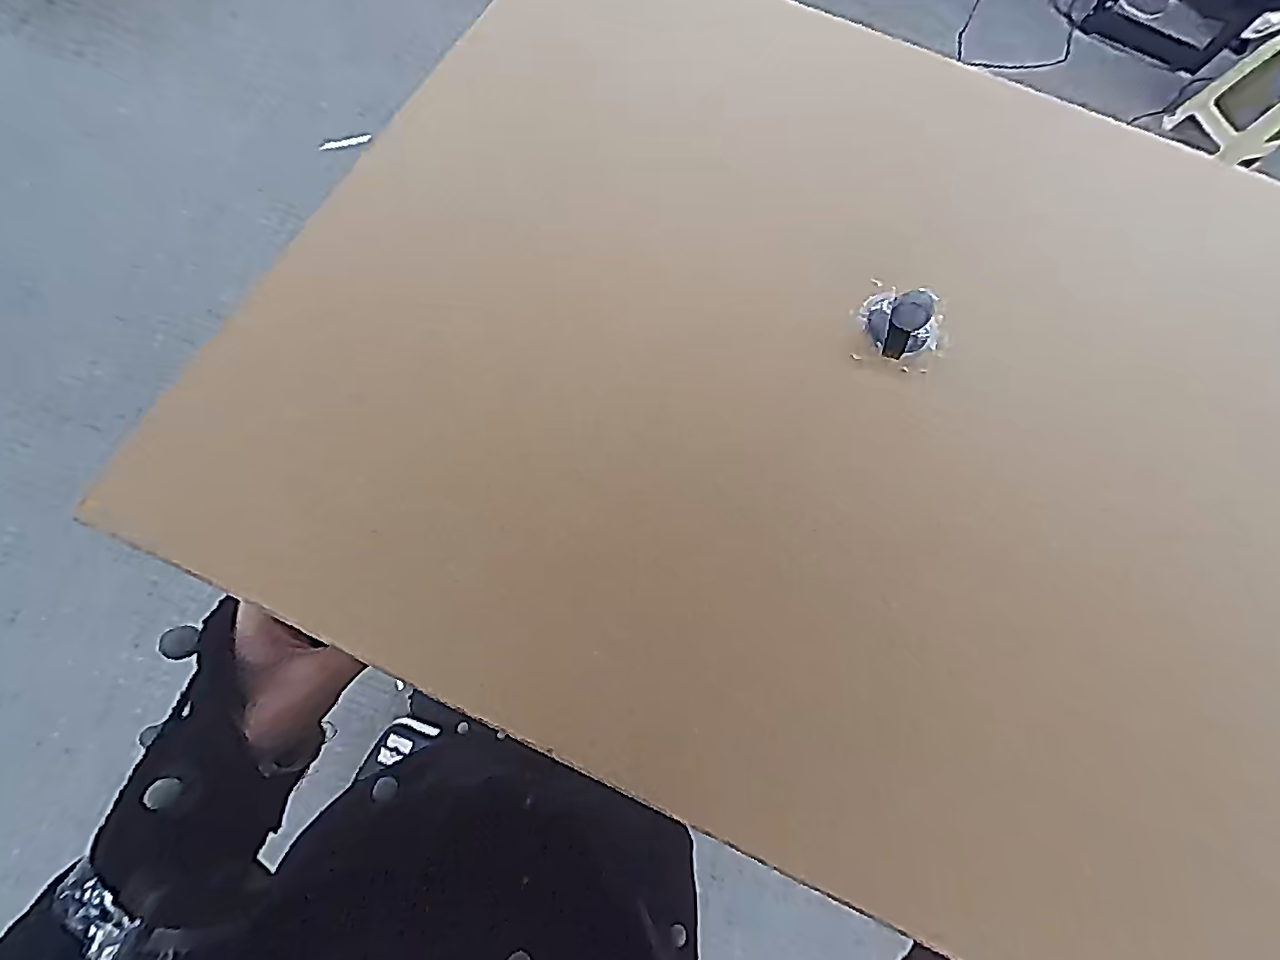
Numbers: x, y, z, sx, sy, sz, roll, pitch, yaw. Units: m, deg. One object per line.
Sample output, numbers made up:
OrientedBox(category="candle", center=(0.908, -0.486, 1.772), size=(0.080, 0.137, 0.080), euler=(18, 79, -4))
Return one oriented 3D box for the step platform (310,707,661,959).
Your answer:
OrientedBox(category="step platform", center=(-0.301, 0.751, 1.131), size=(0.684, 0.204, 0.286), euler=(26, 71, 1))
